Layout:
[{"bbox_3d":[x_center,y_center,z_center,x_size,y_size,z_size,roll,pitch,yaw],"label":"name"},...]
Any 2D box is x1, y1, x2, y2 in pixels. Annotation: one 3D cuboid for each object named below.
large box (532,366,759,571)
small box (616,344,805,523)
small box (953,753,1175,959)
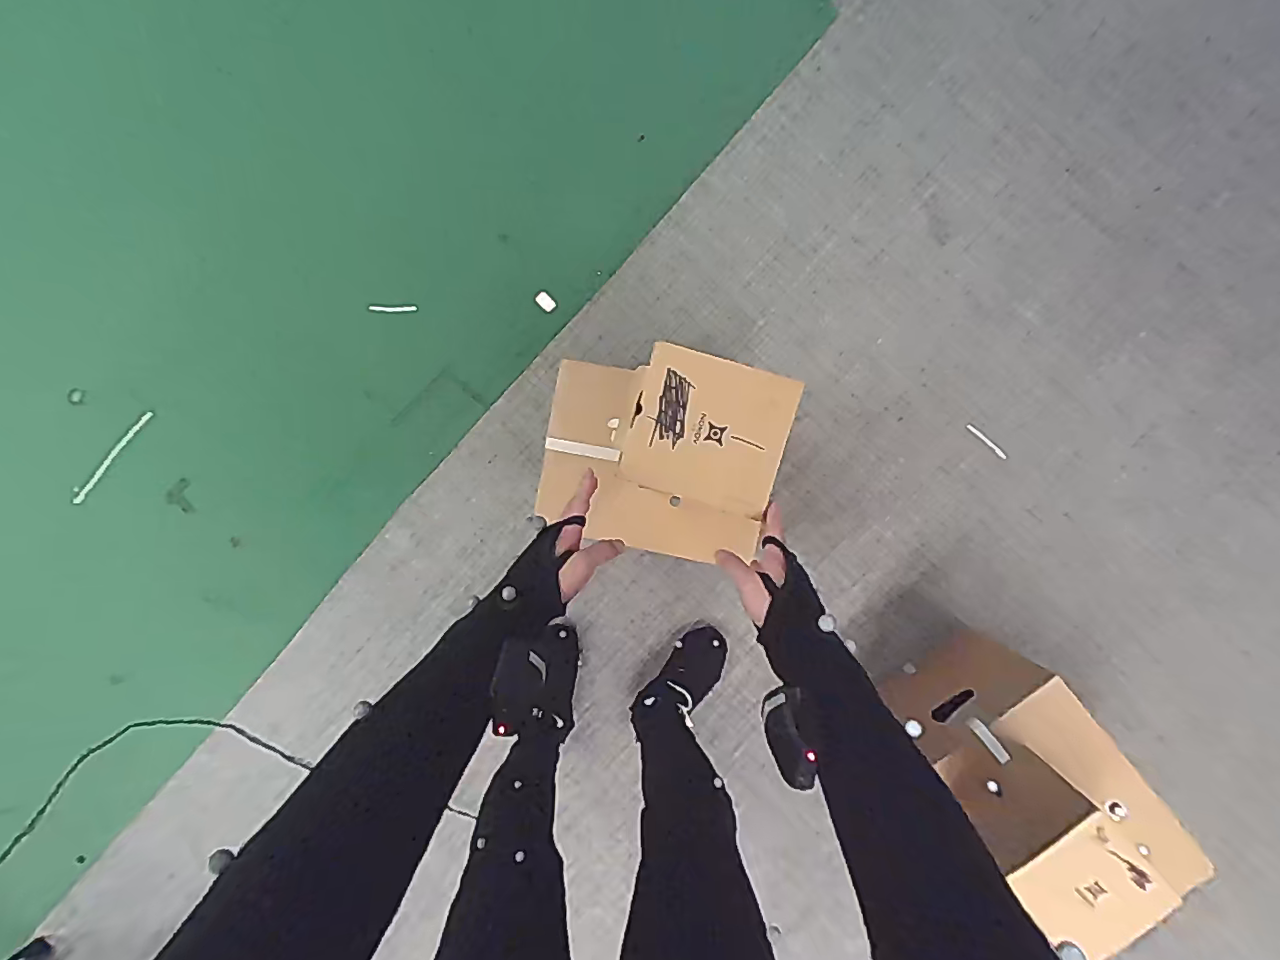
[{"bbox_3d":[0.038,-0.024,1.104,0.408,0.320,0.320,11,91,5],"label":"large box"},{"bbox_3d":[0.084,-0.053,0.688,0.179,0.176,0.168,18,92,4],"label":"small box"},{"bbox_3d":[0.614,0.564,0.819,0.179,0.176,0.168,-41,88,6],"label":"small box"}]
